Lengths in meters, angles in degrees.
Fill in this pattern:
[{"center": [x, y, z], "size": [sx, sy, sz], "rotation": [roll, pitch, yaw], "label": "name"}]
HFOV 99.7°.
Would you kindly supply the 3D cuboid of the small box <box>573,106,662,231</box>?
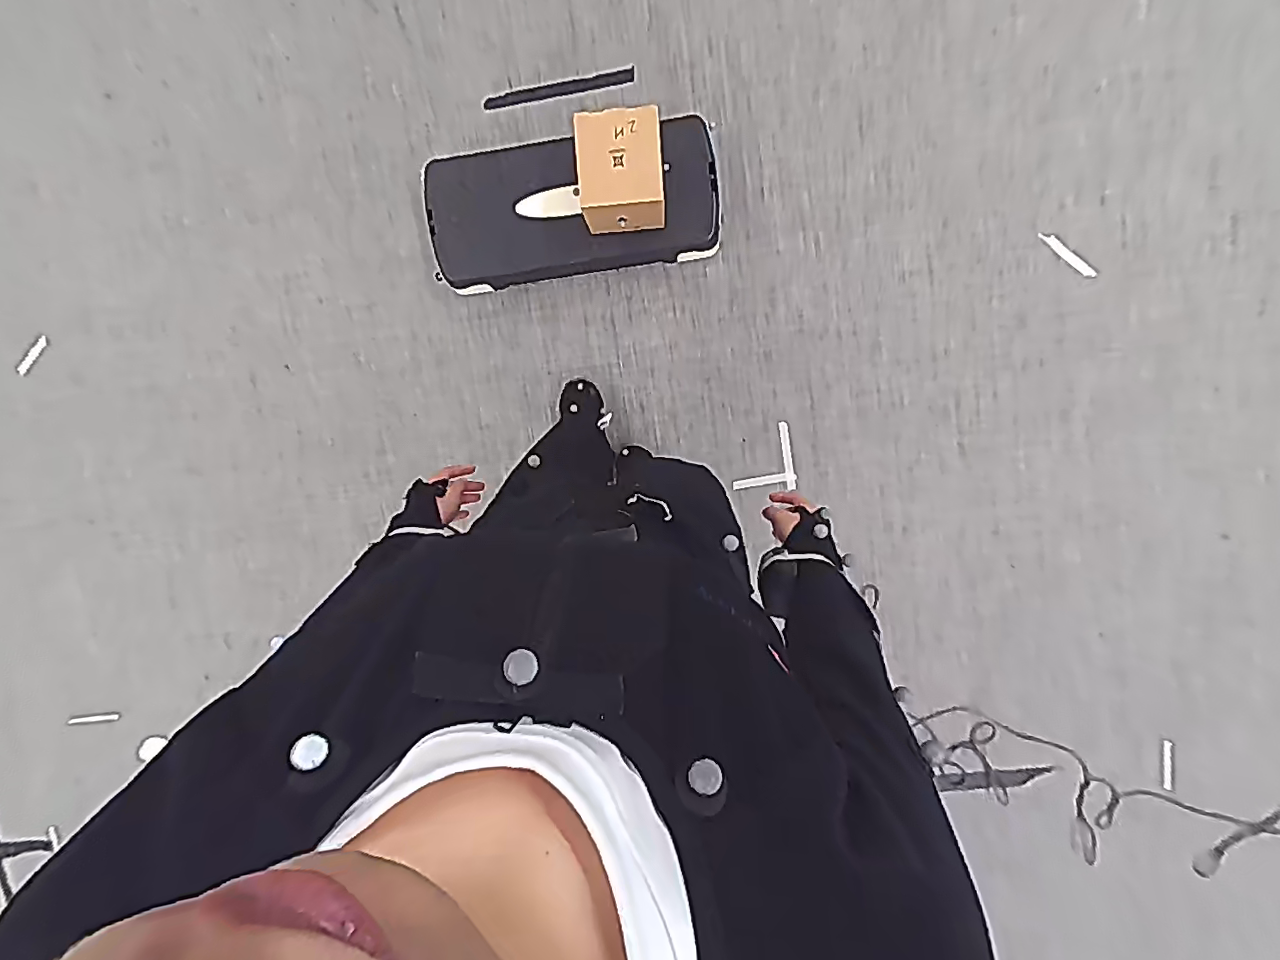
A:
[{"center": [-0.040, -0.629, 1.117], "size": [0.168, 0.176, 0.179], "rotation": [-3, 97, 3], "label": "small box"}]
